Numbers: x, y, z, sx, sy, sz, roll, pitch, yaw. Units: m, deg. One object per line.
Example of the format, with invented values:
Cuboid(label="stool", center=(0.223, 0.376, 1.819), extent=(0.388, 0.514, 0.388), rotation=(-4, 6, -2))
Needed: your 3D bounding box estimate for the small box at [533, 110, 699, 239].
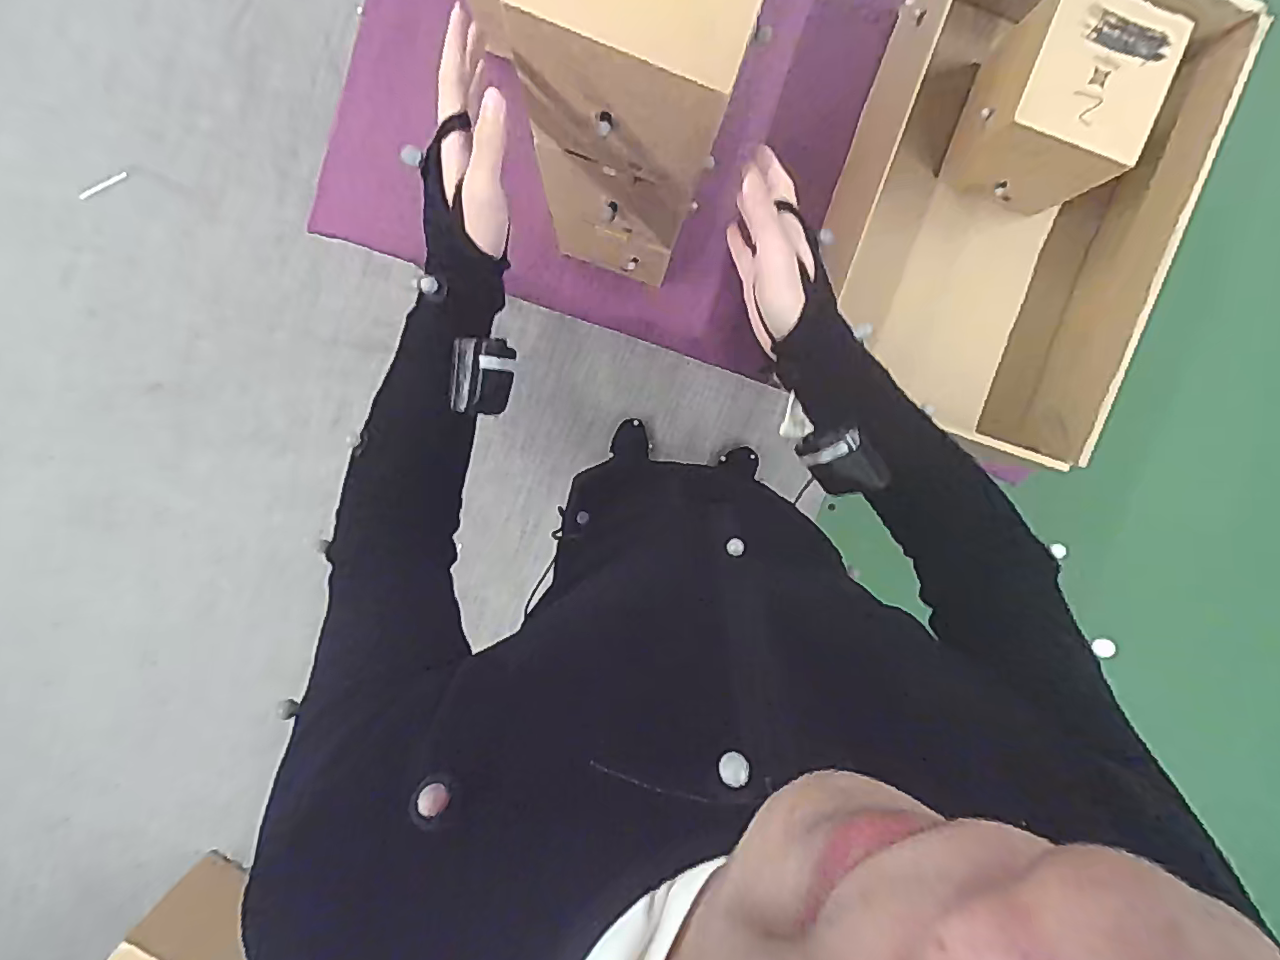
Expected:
Cuboid(label="small box", center=(-0.004, -0.396, 0.599), extent=(0.168, 0.176, 0.179), rotation=(18, 95, -5))

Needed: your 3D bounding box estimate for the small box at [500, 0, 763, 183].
Cuboid(label="small box", center=(0.008, -0.379, 0.434), extent=(0.168, 0.176, 0.179), rotation=(19, 93, -5))

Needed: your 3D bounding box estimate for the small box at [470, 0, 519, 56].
Cuboid(label="small box", center=(-0.128, -0.696, 0.729), extent=(0.168, 0.176, 0.179), rotation=(17, 94, -4))

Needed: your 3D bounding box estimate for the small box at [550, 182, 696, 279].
Cuboid(label="small box", center=(-0.014, -0.408, 0.761), extent=(0.168, 0.176, 0.179), rotation=(19, 93, -5))
